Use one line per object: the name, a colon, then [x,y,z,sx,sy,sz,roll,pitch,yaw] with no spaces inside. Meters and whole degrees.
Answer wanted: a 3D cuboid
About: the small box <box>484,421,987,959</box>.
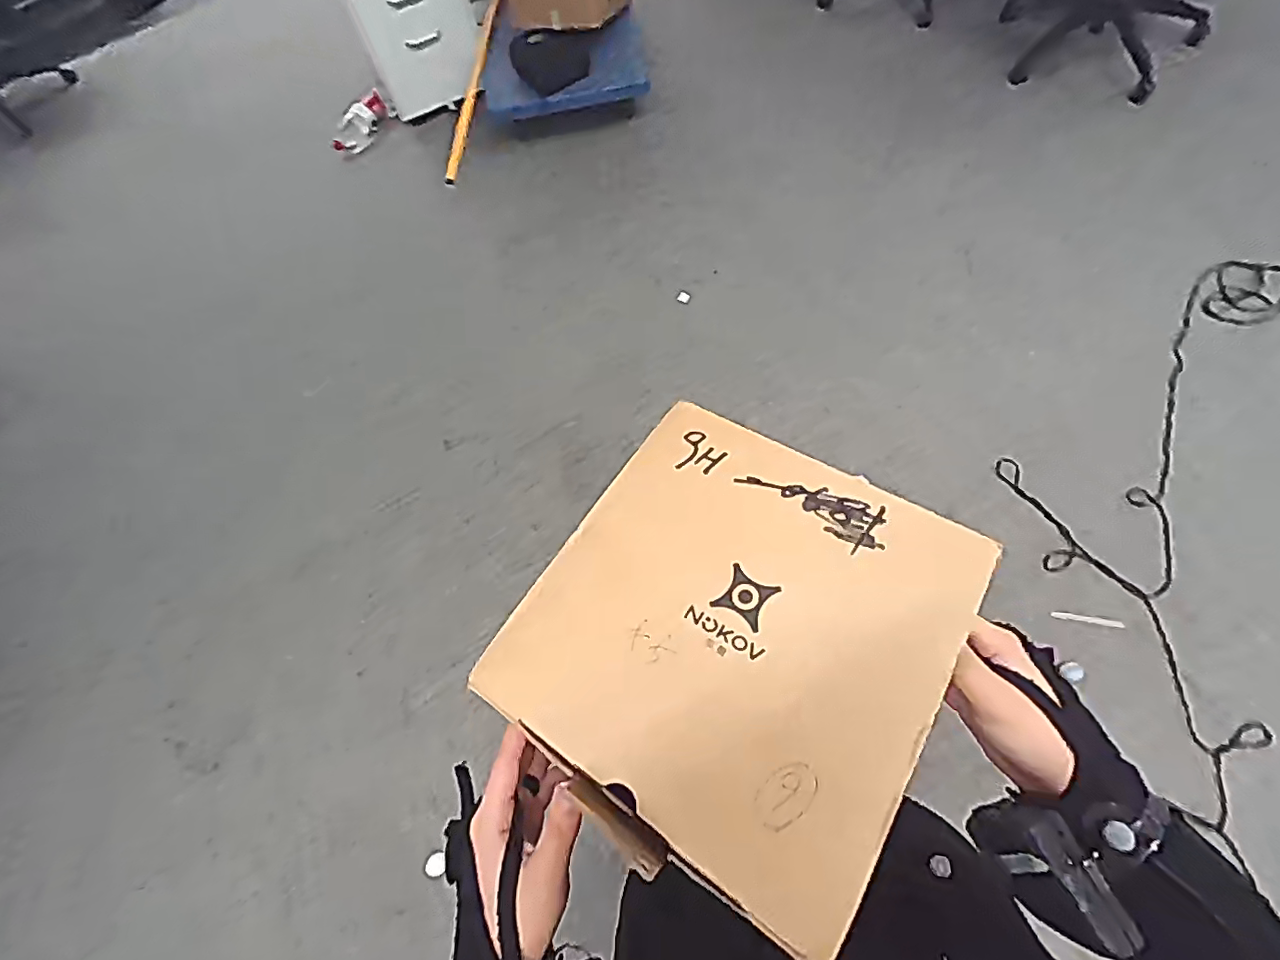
small box: [0.052,0.106,0.310,0.168,0.176,0.179,28,68,22]
